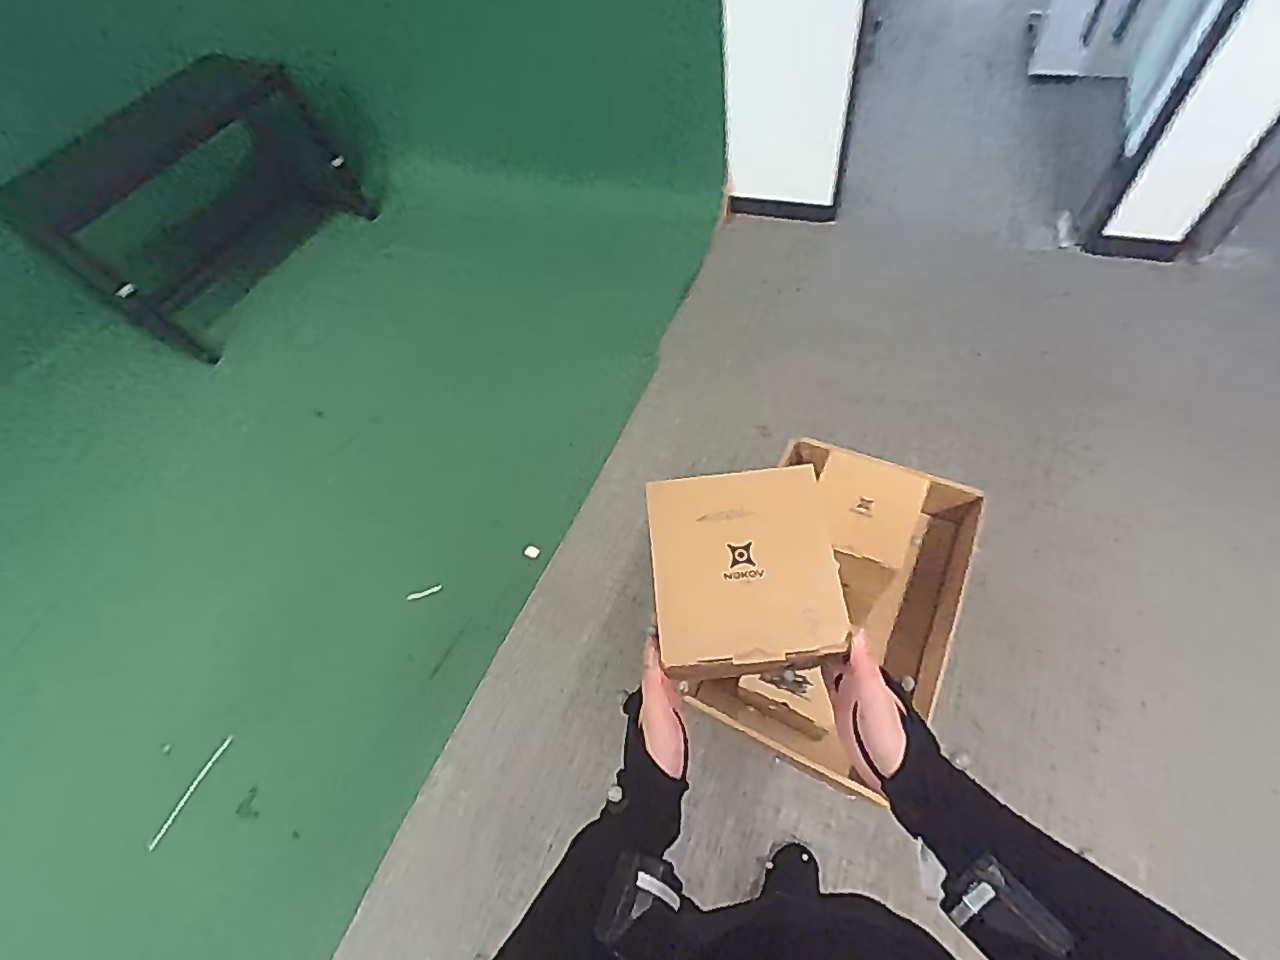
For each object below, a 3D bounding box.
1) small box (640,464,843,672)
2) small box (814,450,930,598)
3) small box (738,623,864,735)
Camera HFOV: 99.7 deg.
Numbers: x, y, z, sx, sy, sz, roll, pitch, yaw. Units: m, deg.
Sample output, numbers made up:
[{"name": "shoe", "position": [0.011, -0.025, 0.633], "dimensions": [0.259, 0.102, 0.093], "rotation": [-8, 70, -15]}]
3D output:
[{"name": "small box", "position": [0.094, 0.103, 0.565], "dimensions": [0.168, 0.176, 0.179], "rotation": [-6, 66, 2]}, {"name": "small box", "position": [0.383, 0.082, 0.959], "dimensions": [0.168, 0.176, 0.179], "rotation": [21, 68, 21]}, {"name": "small box", "position": [0.293, 0.349, 1.004], "dimensions": [0.168, 0.176, 0.179], "rotation": [22, 65, 21]}]
